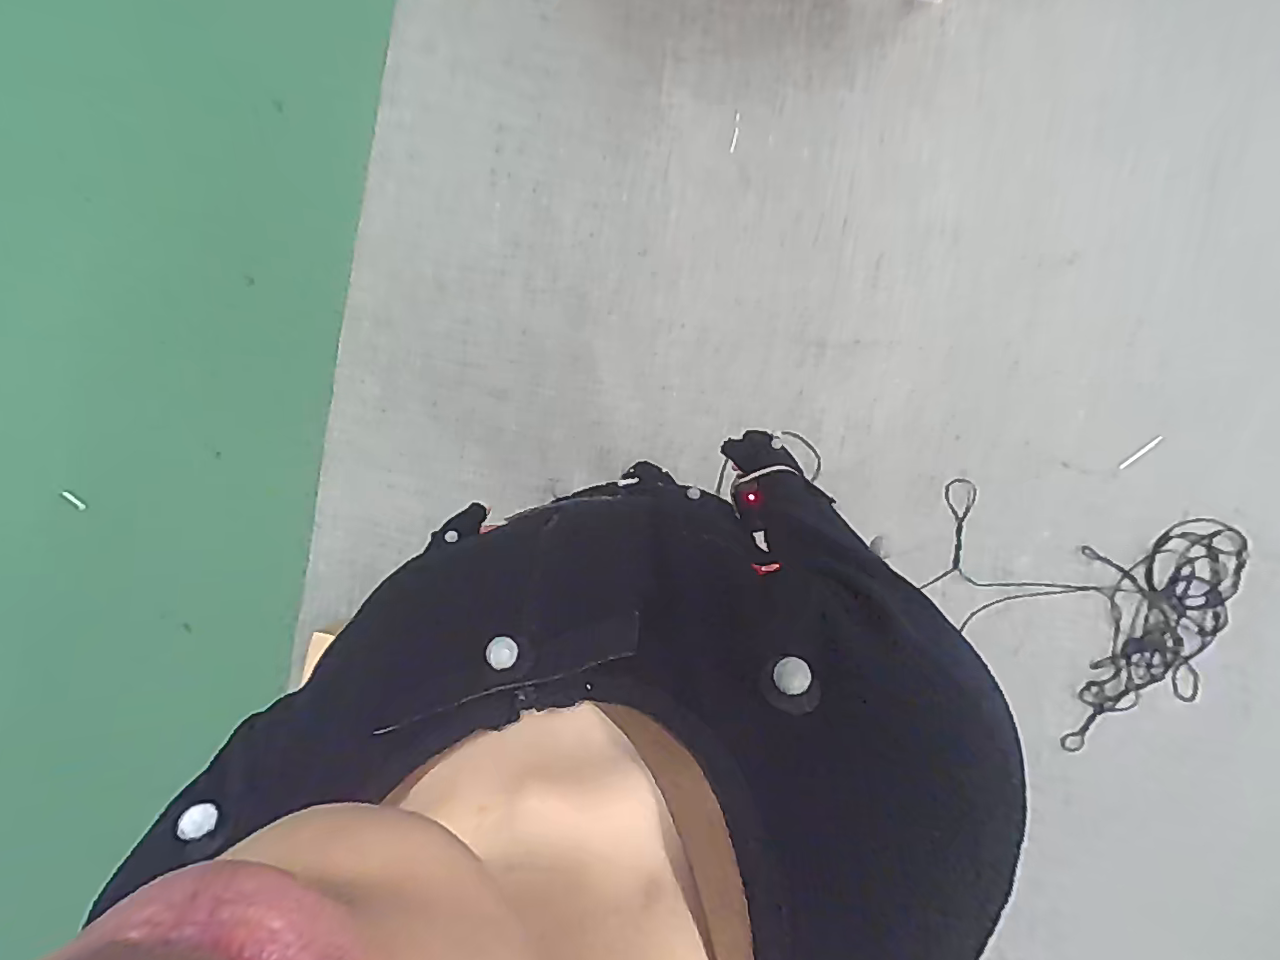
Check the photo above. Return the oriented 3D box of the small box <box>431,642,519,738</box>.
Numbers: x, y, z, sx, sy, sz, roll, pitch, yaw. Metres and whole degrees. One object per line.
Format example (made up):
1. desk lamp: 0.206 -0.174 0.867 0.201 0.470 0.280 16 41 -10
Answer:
1. small box: -0.422 0.539 1.411 0.168 0.176 0.179 9 90 2

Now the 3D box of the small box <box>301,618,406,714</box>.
1. small box: -0.743 0.480 1.421 0.168 0.176 0.179 12 89 2

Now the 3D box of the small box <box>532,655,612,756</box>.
1. small box: -0.169 0.576 1.398 0.168 0.176 0.179 10 89 1
